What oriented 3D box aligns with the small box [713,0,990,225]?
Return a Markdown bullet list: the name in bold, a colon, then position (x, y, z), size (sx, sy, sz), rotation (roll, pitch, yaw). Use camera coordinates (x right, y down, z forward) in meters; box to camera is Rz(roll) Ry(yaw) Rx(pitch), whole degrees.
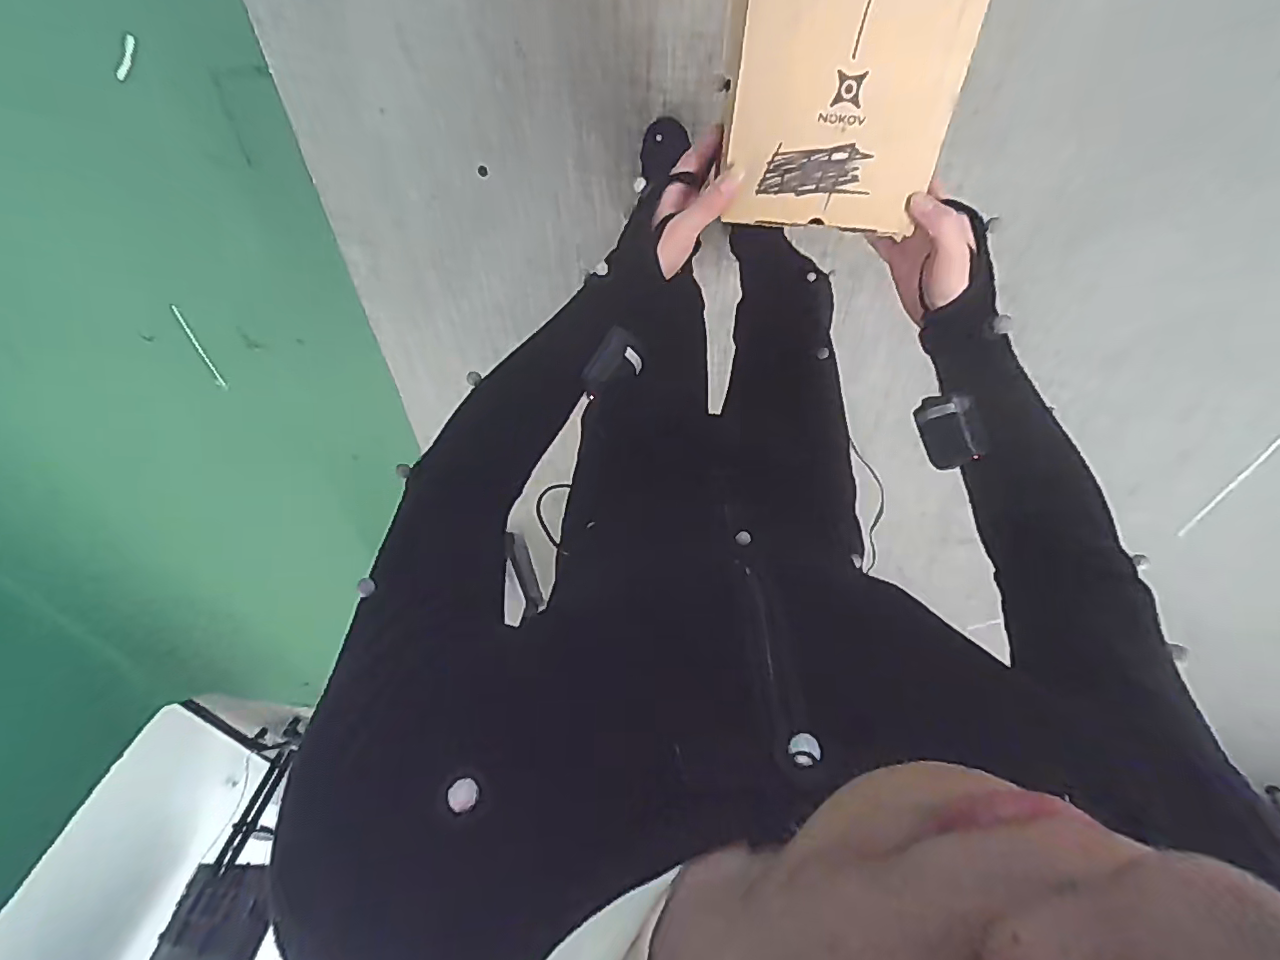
- **small box**: position (0.157, -0.335, 0.464), size (0.168, 0.176, 0.179), rotation (5, 124, 0)
